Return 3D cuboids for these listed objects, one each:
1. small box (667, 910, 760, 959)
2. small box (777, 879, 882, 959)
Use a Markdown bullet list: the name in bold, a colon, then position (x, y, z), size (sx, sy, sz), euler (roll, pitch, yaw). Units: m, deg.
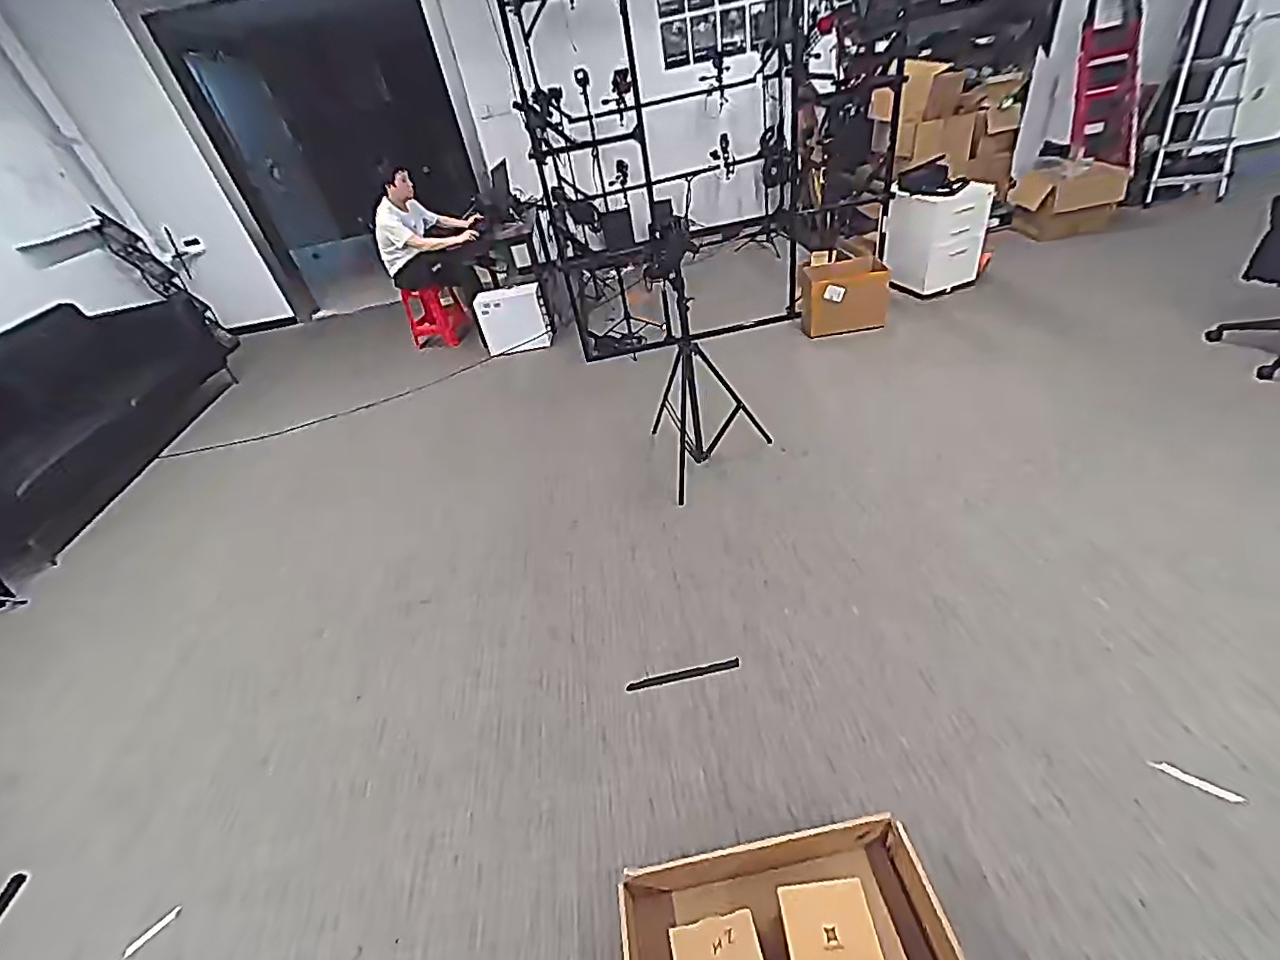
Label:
- **small box**: position (0.157, 0.969, 1.034), size (0.168, 0.176, 0.179), euler (-12, 37, -3)
- **small box**: position (0.367, 0.914, 1.053), size (0.168, 0.176, 0.179), euler (-9, 38, 4)
